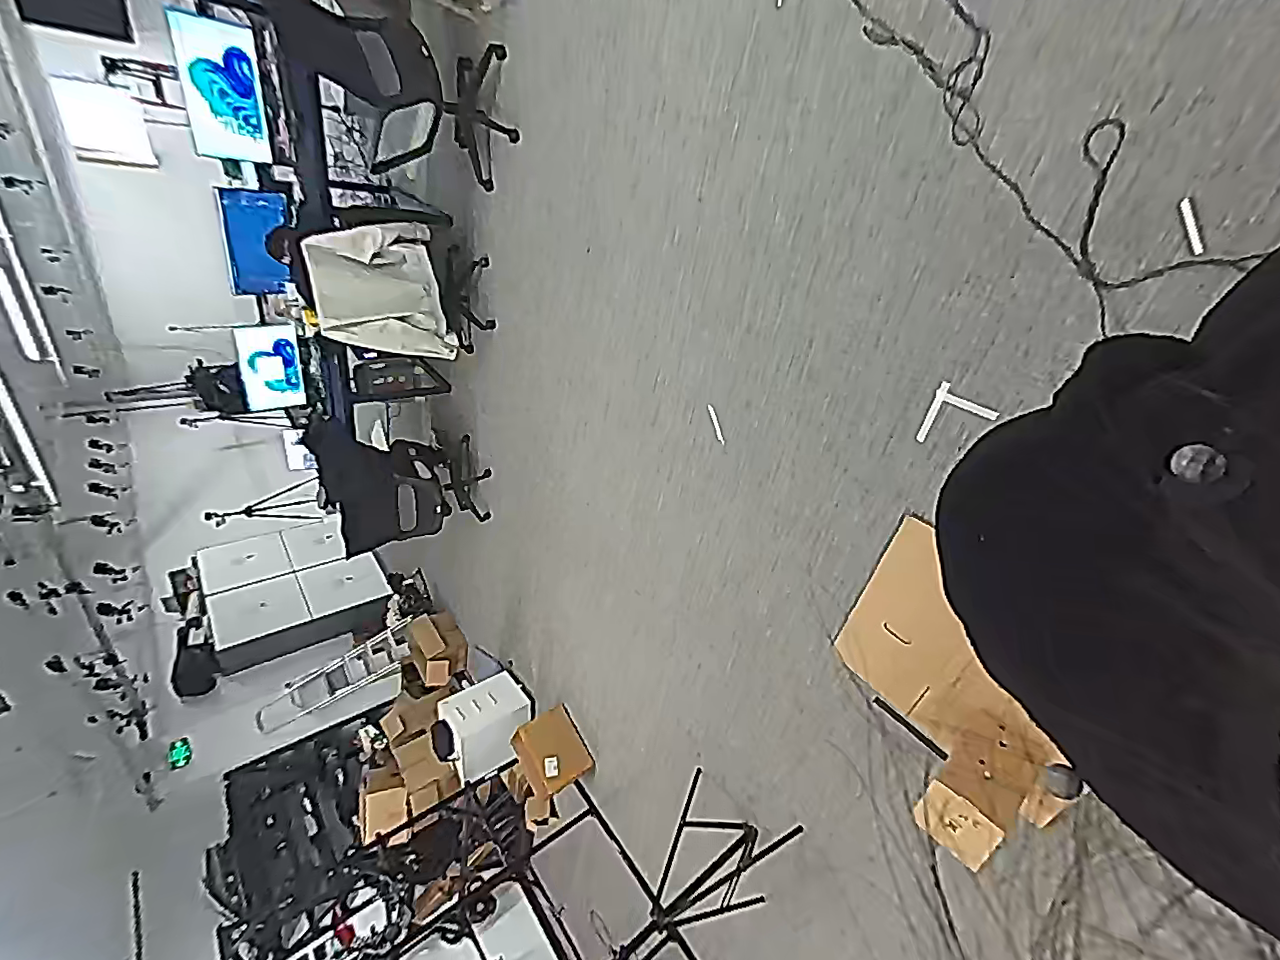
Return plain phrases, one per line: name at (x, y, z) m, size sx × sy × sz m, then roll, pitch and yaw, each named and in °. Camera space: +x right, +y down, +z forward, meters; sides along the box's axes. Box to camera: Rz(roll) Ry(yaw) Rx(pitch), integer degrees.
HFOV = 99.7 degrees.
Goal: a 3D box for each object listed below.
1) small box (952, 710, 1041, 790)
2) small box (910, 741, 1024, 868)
small box at (0.938, 0.759, 1.450) m, size 0.168 × 0.176 × 0.179 m, roll 33°, pitch 127°, yaw 40°
small box at (0.815, 0.800, 1.347) m, size 0.168 × 0.176 × 0.179 m, roll 34°, pitch 128°, yaw 38°
